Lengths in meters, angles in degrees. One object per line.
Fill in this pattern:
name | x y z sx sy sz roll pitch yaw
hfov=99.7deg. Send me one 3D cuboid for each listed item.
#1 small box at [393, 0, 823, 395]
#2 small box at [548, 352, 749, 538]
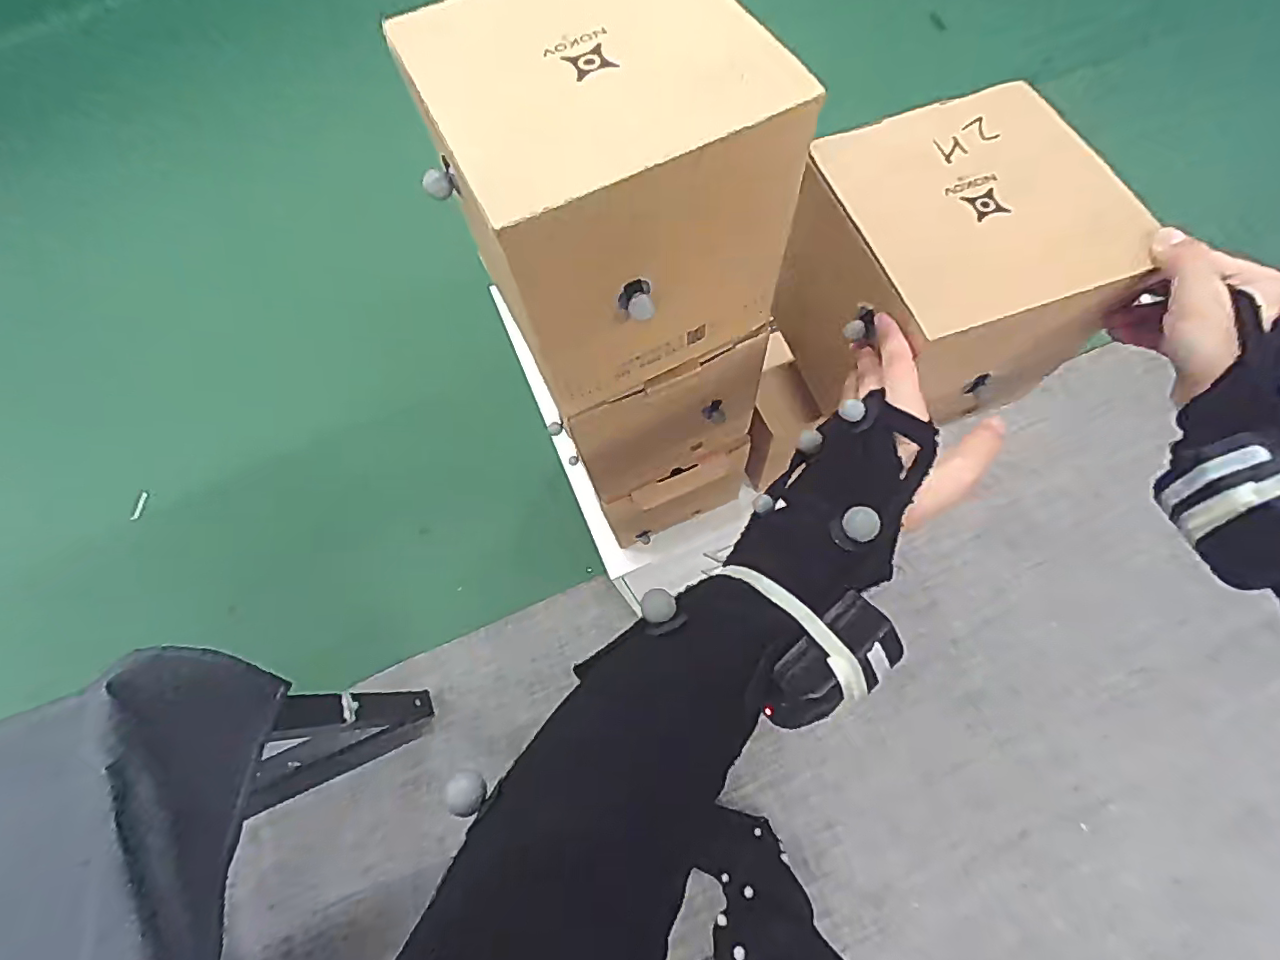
small box | -0.018 -0.177 0.341 0.168 0.176 0.179 -26 68 -7
small box | 0.012 -0.046 0.637 0.168 0.176 0.179 -23 67 -5
